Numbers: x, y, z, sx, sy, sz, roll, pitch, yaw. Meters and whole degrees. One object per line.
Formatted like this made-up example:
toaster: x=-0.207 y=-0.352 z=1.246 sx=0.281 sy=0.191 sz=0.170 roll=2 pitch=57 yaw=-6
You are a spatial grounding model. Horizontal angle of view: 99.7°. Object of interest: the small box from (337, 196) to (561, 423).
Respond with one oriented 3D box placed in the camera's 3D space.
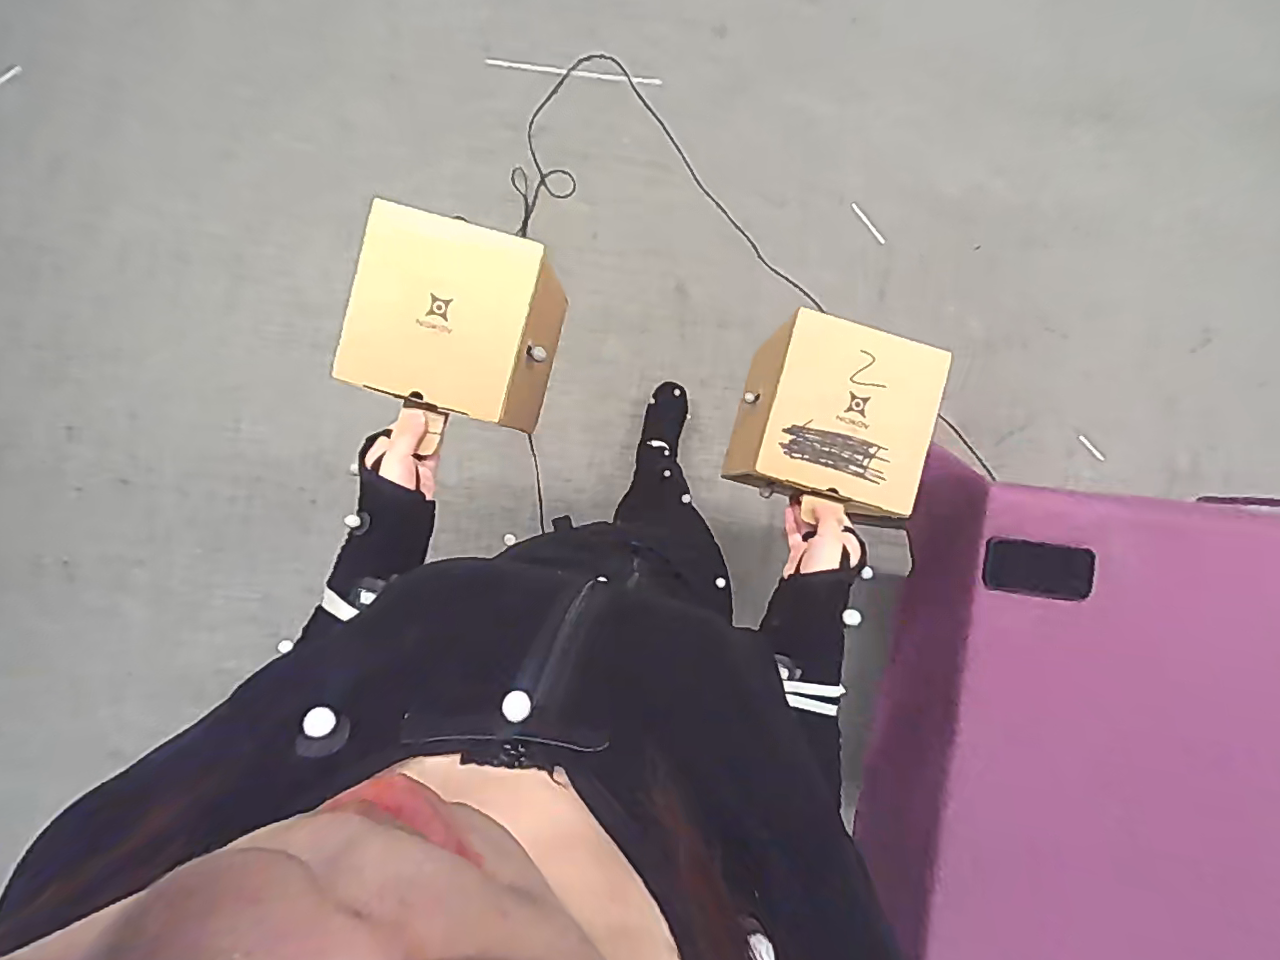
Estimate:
small box: x=-0.190 y=-0.168 z=0.593 sx=0.168 sy=0.176 sz=0.179 roll=15 pitch=94 yaw=-1
